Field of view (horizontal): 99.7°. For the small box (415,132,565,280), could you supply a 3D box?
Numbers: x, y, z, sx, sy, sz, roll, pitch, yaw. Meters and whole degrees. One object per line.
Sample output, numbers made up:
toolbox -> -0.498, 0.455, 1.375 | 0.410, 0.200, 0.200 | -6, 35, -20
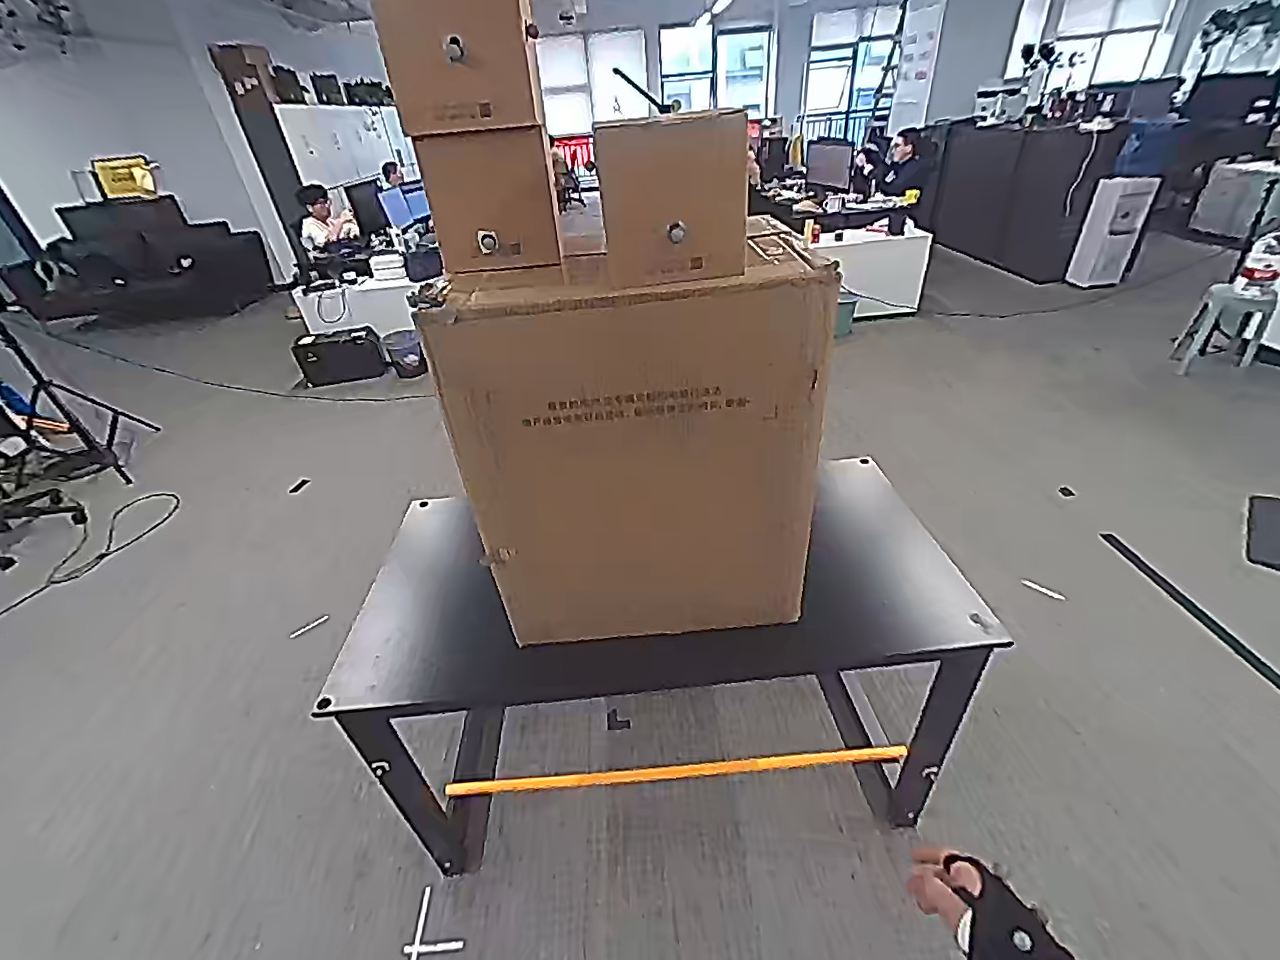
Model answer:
small box -> -0.206, -0.402, 0.792 | 0.168, 0.176, 0.179 | -8, 35, -3

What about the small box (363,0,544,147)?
small box -> -0.220, -0.529, 0.688 | 0.168, 0.176, 0.179 | -7, 34, -2

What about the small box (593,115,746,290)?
small box -> 0.032, -0.351, 0.682 | 0.168, 0.176, 0.179 | -8, 35, 0
